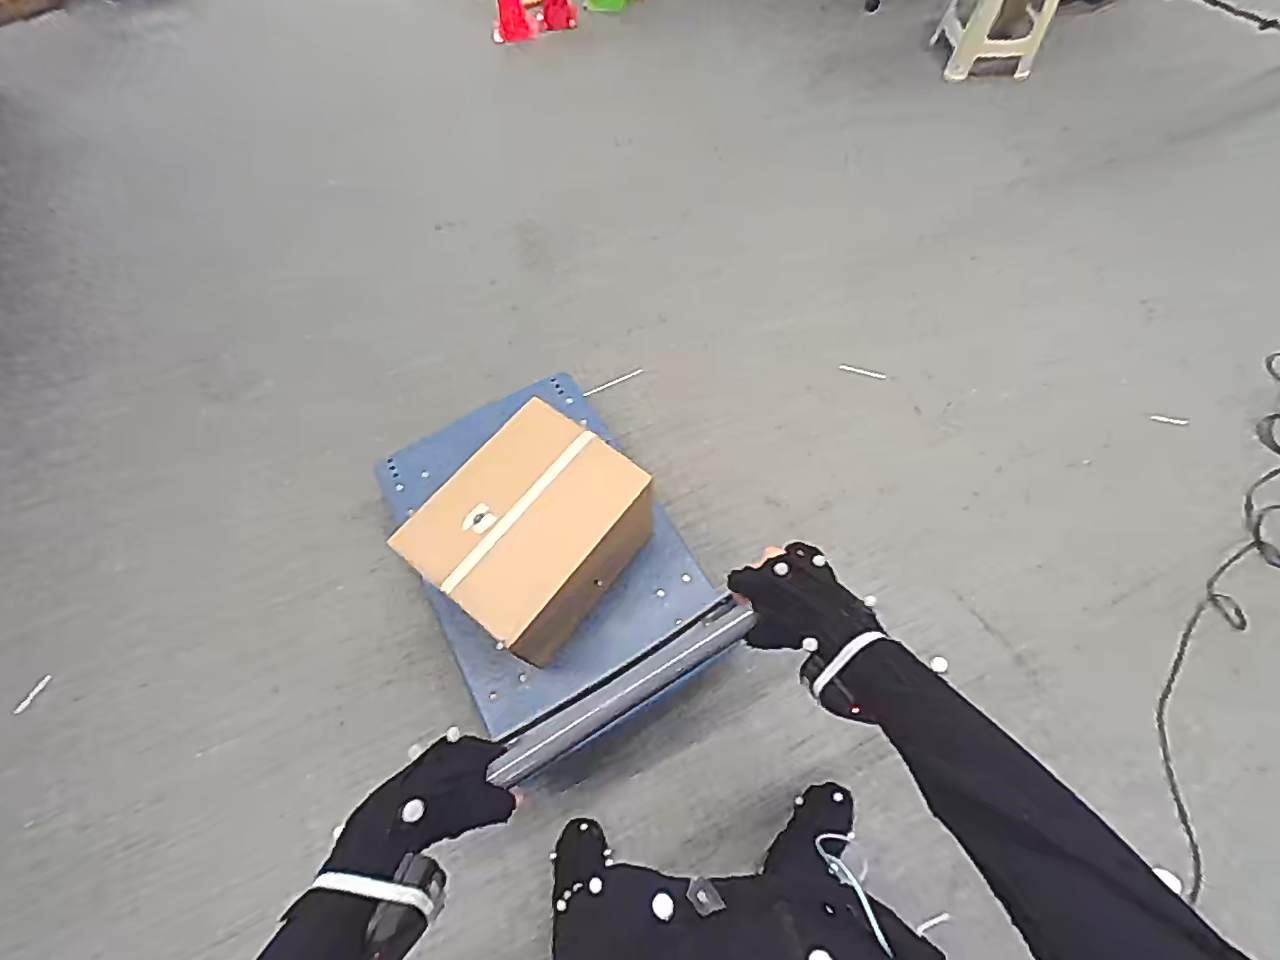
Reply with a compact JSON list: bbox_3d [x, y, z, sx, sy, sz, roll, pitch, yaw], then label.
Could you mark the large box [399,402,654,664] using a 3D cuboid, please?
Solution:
[{"bbox_3d":[-0.205,0.123,1.153,0.320,0.320,0.408,34,71,17],"label":"large box"}]
